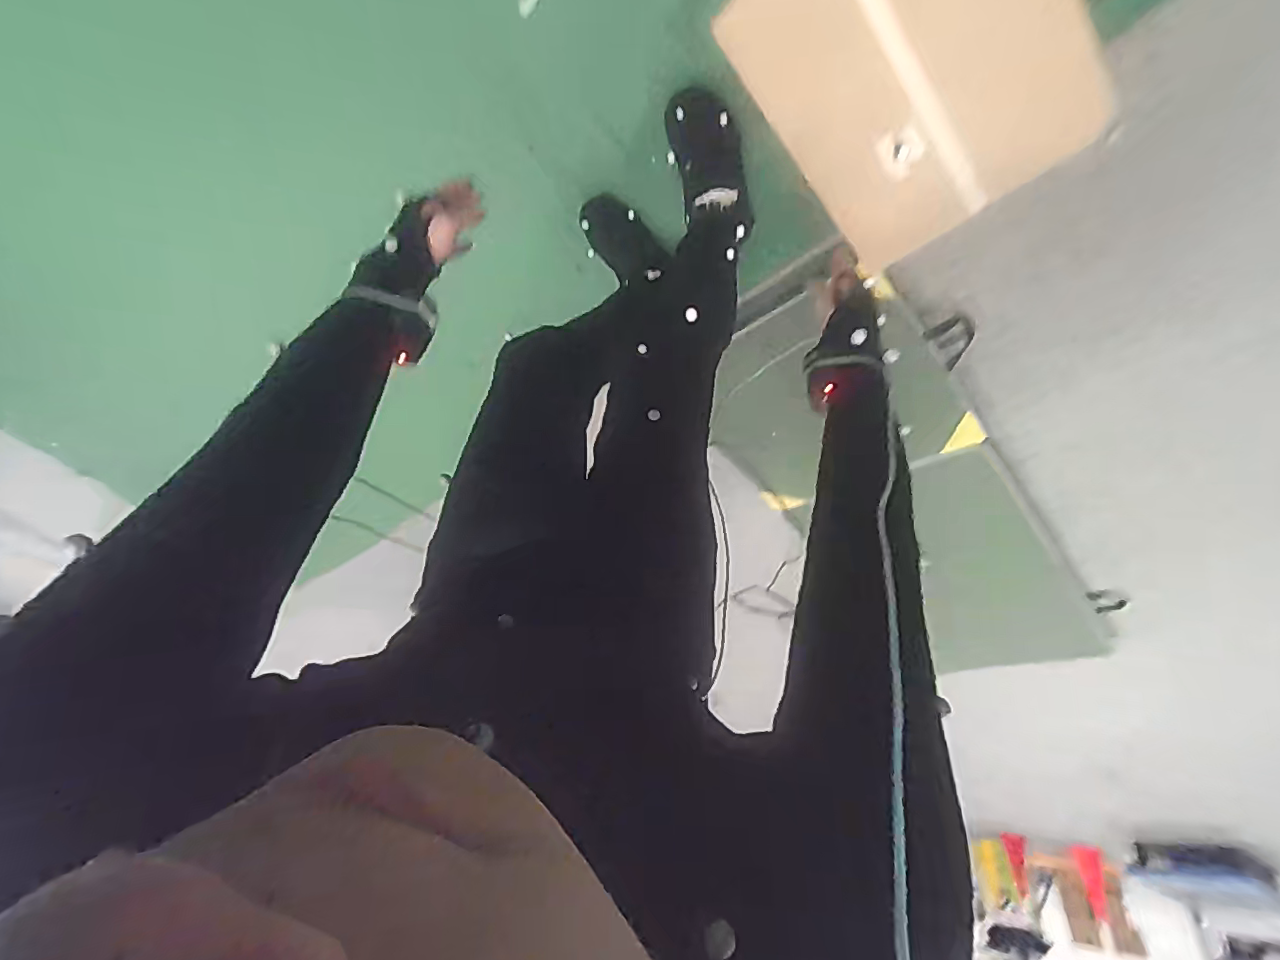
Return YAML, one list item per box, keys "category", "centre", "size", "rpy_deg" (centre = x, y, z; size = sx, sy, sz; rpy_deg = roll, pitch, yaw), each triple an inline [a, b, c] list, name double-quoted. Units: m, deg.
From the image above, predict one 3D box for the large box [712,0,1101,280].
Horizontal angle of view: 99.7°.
- category: "large box"
  centre: [0.357, -0.590, 0.770]
  size: [0.320, 0.320, 0.408]
  rpy_deg: [-26, 125, 39]
